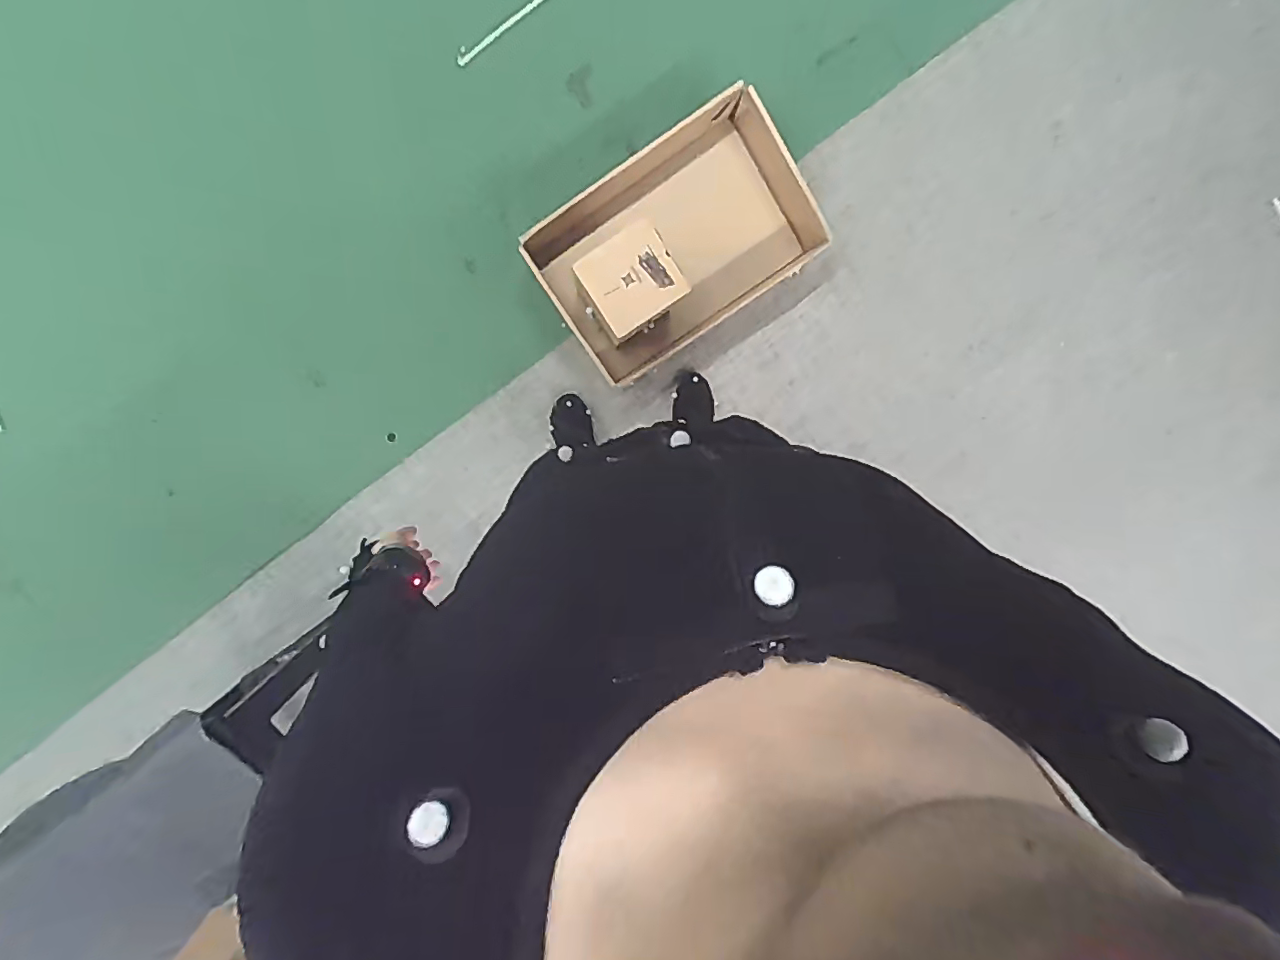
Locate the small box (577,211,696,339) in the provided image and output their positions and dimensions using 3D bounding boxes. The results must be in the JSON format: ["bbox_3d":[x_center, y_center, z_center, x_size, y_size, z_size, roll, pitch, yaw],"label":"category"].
[{"bbox_3d":[-0.013,-0.405,1.100,0.179,0.176,0.168,-33,101,3],"label":"small box"}]
